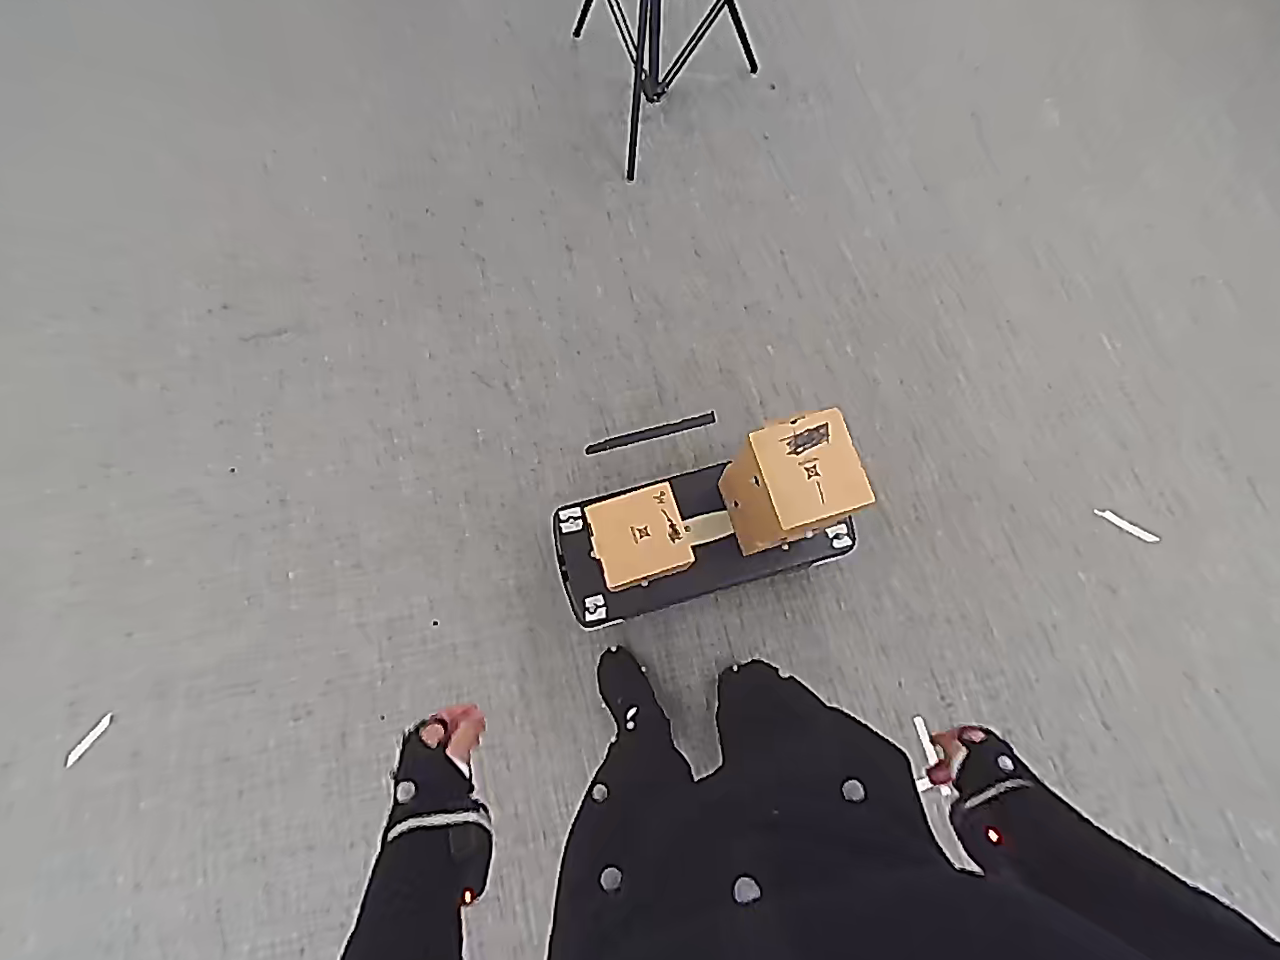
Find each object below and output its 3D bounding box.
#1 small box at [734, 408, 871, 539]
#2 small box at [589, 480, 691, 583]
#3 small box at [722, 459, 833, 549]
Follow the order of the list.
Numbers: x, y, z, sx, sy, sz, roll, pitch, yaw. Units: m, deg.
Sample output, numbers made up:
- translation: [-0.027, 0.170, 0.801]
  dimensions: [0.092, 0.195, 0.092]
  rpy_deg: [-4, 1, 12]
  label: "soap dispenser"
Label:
- translation: [0.282, -0.004, 0.984]
  dimensions: [0.168, 0.176, 0.179]
  rpy_deg: [-16, 78, -3]
  label: "small box"
- translation: [-0.004, 0.118, 1.125]
  dimensions: [0.179, 0.176, 0.168]
  rpy_deg: [-17, 77, -4]
  label: "small box"
- translation: [0.275, 0.040, 1.143]
  dimensions: [0.168, 0.176, 0.179]
  rpy_deg: [-16, 77, -3]
  label: "small box"
